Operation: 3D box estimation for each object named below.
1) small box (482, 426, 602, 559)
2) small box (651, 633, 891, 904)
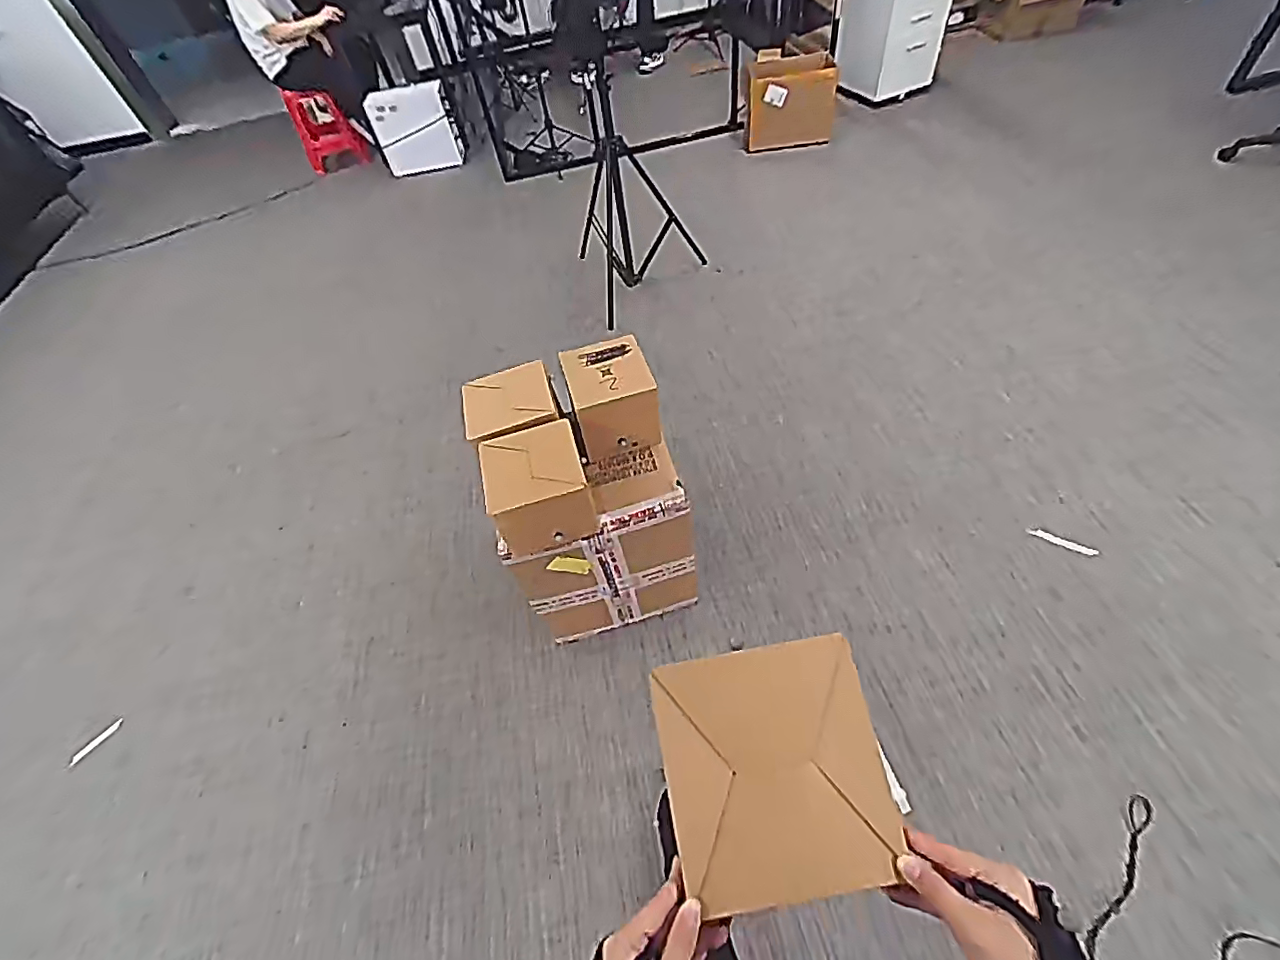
[{"bbox_3d":[-0.188,0.022,1.034,0.179,0.176,0.168,-17,55,-4],"label":"small box"},{"bbox_3d":[0.104,0.247,0.496,0.168,0.176,0.179,-10,71,-1],"label":"small box"}]
